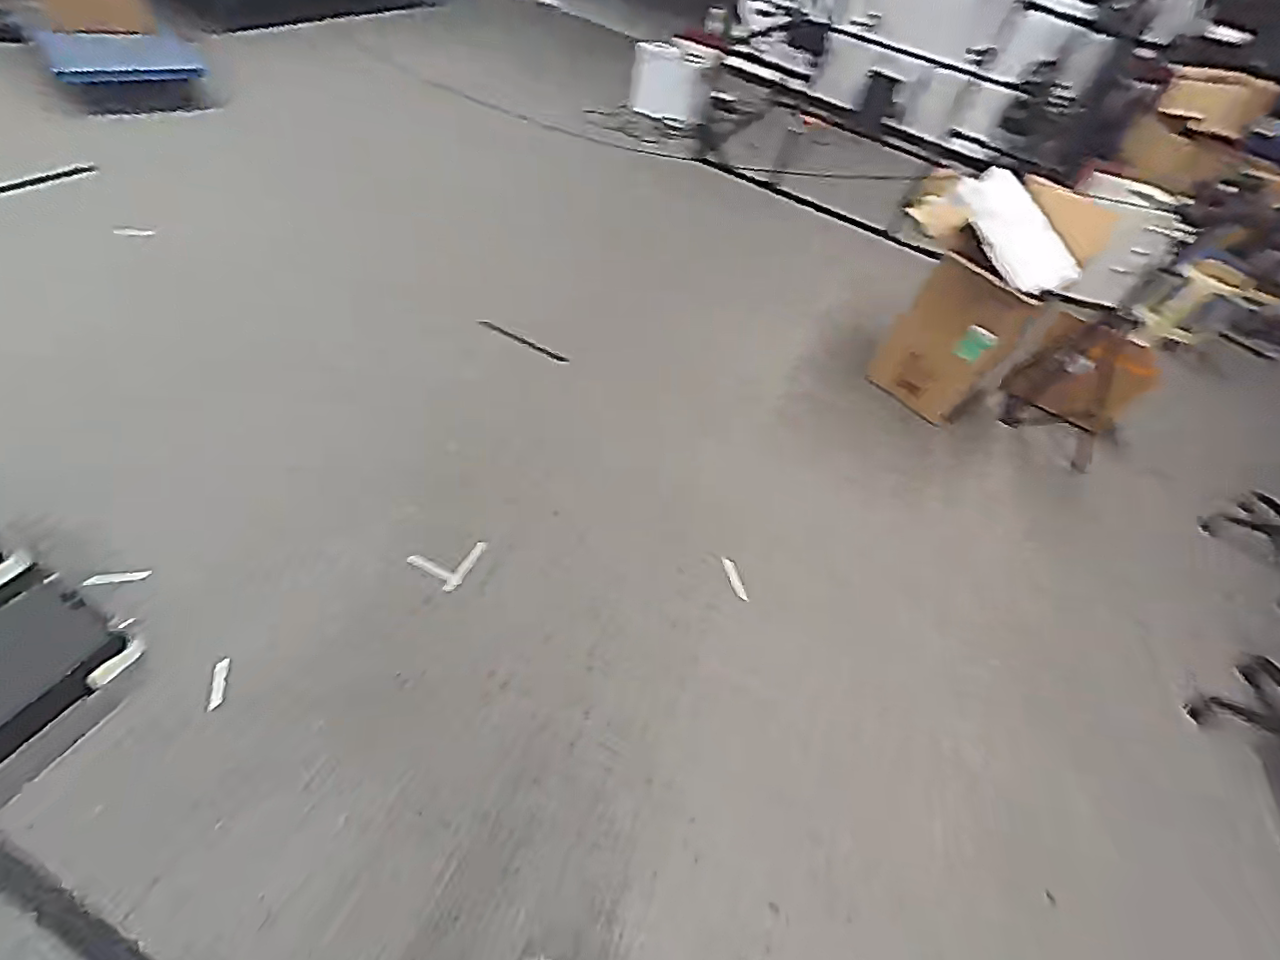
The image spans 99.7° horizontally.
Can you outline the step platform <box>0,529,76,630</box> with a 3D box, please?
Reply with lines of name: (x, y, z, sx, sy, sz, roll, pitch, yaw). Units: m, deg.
step platform: (-1.571, 0.356, 1.018, 0.286, 0.204, 0.684, 31, 48, 12)
